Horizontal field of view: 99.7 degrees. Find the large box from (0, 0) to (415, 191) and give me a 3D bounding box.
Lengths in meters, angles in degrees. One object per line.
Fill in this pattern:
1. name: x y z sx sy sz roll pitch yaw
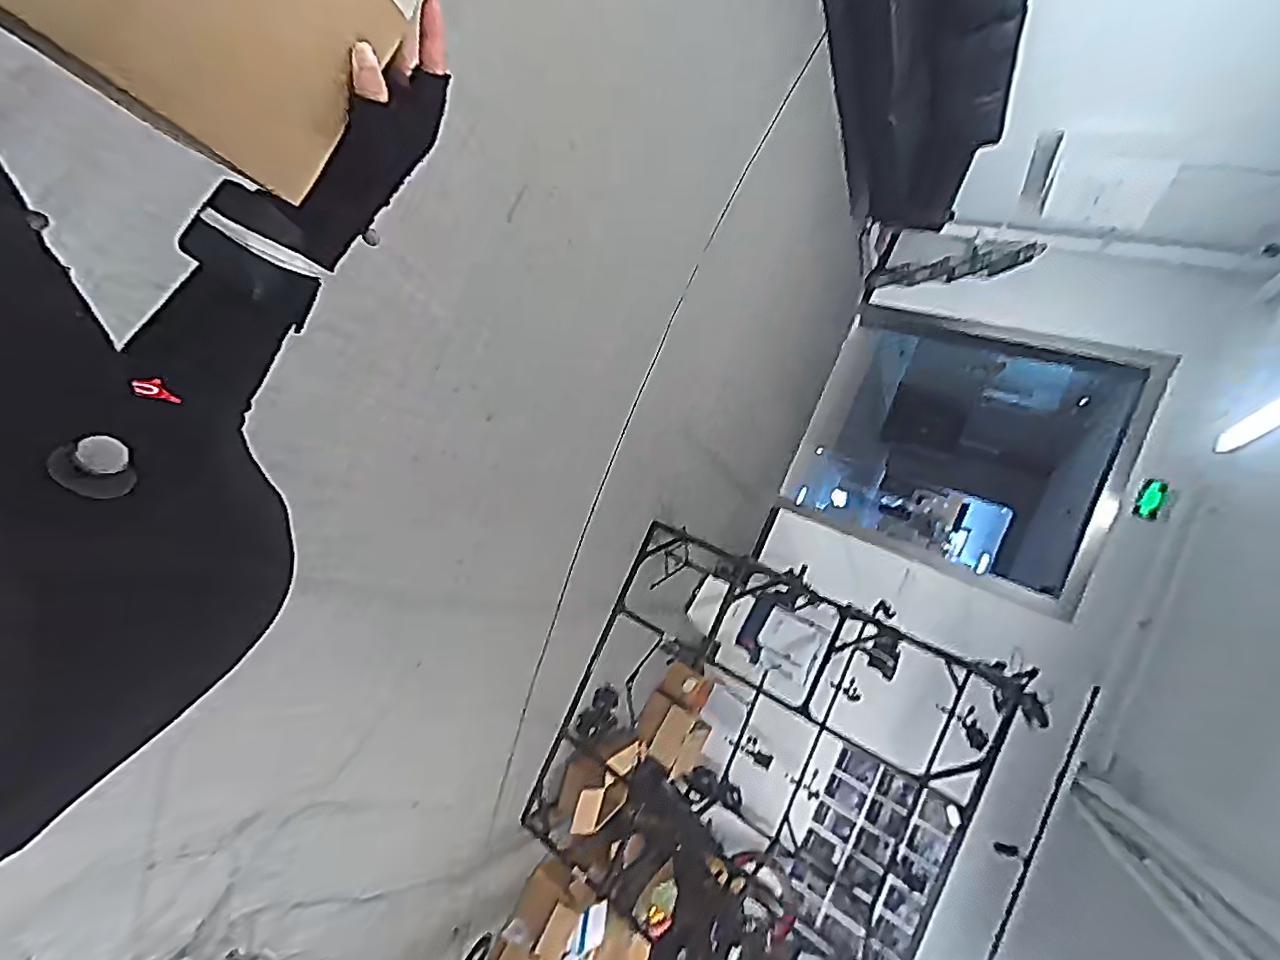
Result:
1. large box: -0.360 -0.446 0.287 0.320 0.320 0.408 -57 148 3
